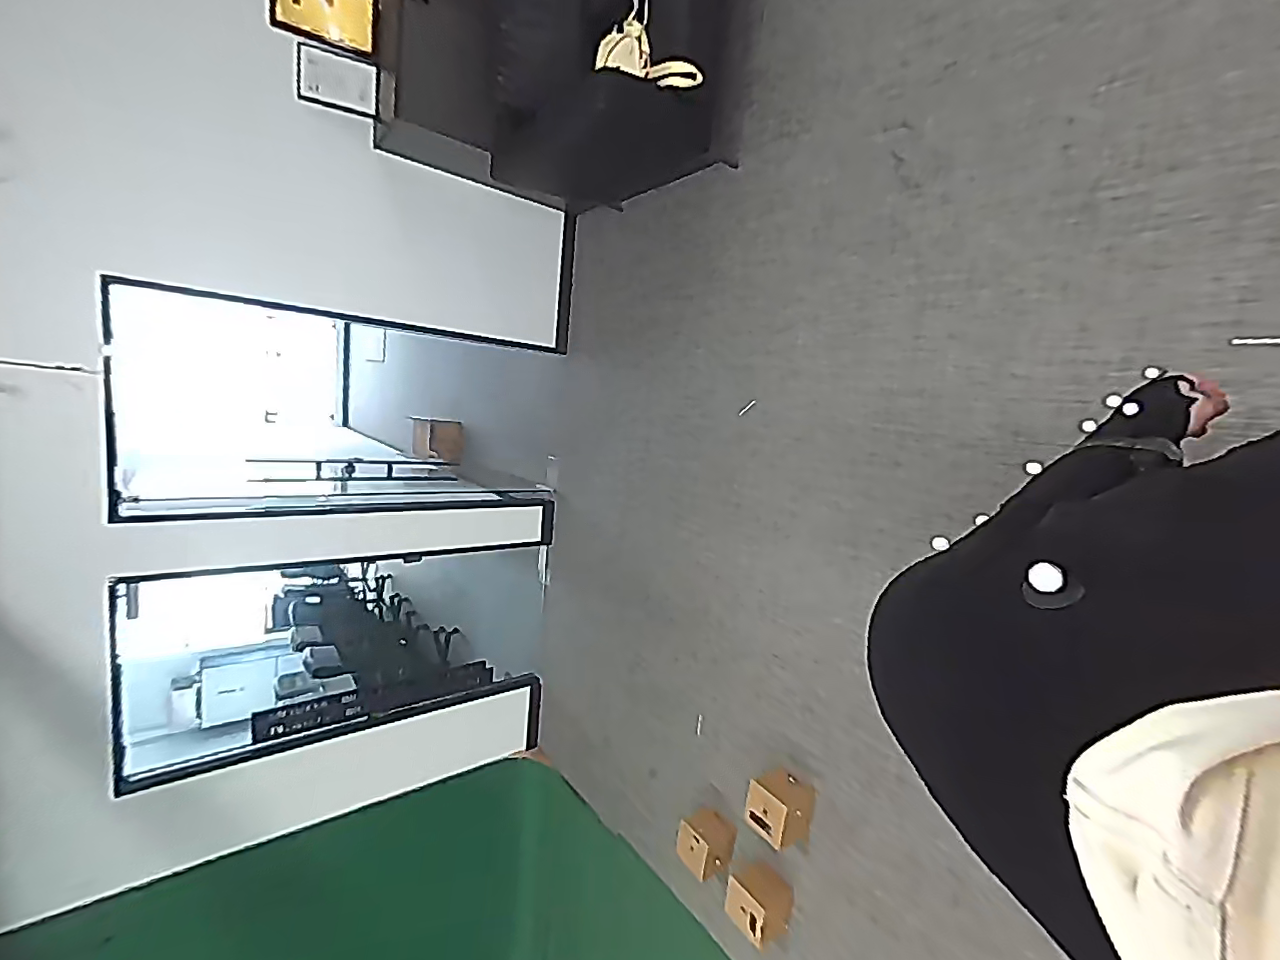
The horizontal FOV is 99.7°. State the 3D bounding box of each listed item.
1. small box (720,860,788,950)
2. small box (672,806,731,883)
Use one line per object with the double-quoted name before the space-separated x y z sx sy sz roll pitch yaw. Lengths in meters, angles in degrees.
"small box" 0.431 1.585 2.031 0.179 0.176 0.168 17 103 51
"small box" 0.259 1.510 2.252 0.168 0.176 0.179 20 106 50
